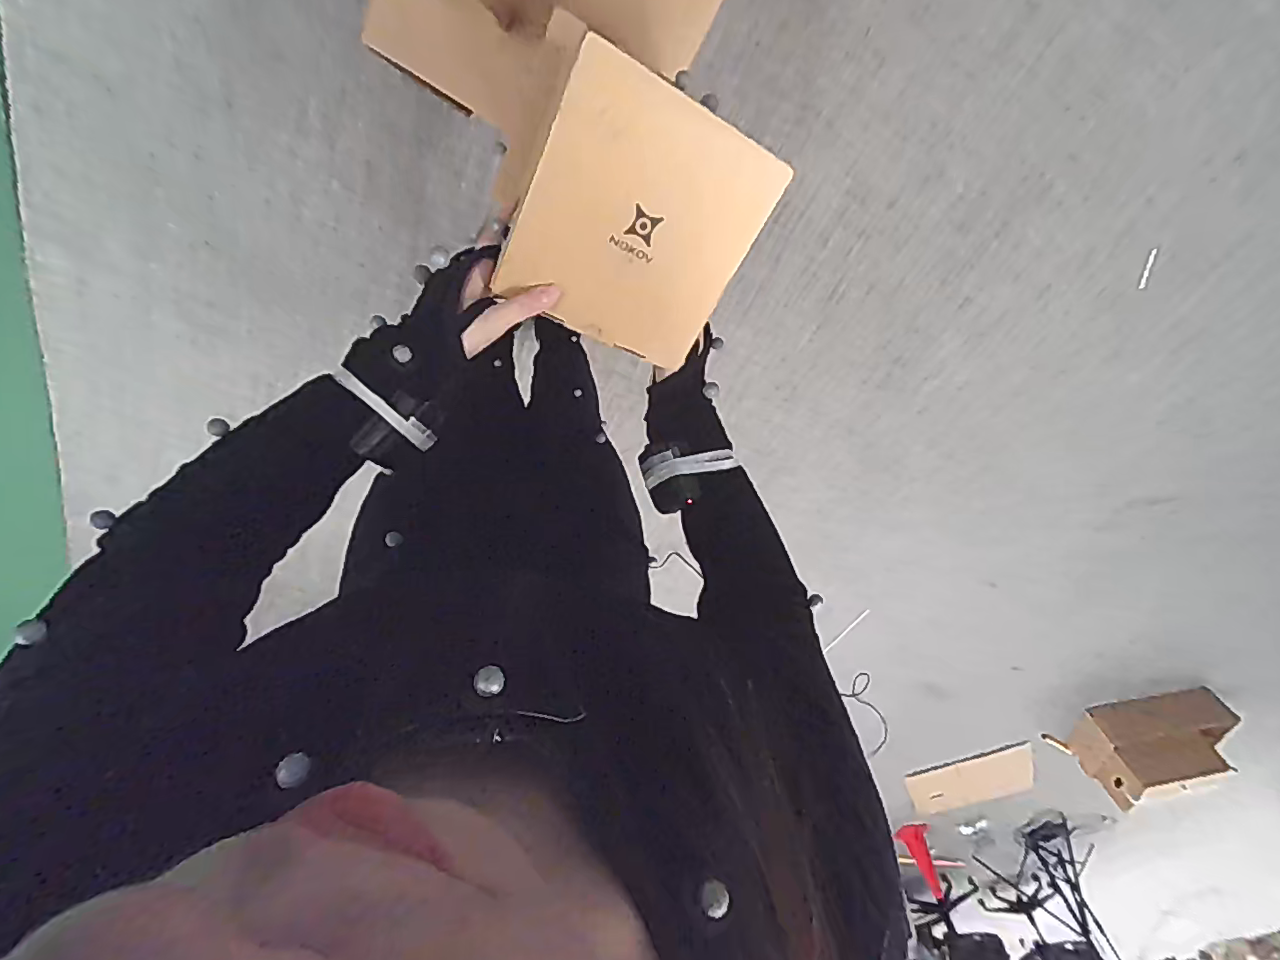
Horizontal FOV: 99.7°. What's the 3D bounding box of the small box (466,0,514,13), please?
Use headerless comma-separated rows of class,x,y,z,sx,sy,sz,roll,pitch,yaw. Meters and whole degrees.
small box,-0.178,-0.545,0.462,0.179,0.176,0.168,21,121,-20

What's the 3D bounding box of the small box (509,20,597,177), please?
small box,-0.062,-0.477,0.734,0.179,0.176,0.168,19,121,-21

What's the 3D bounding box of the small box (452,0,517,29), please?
small box,-0.200,-0.646,0.592,0.168,0.176,0.179,21,119,-21

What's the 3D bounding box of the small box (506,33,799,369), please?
small box,-0.006,-0.231,0.459,0.168,0.176,0.179,18,122,-22
